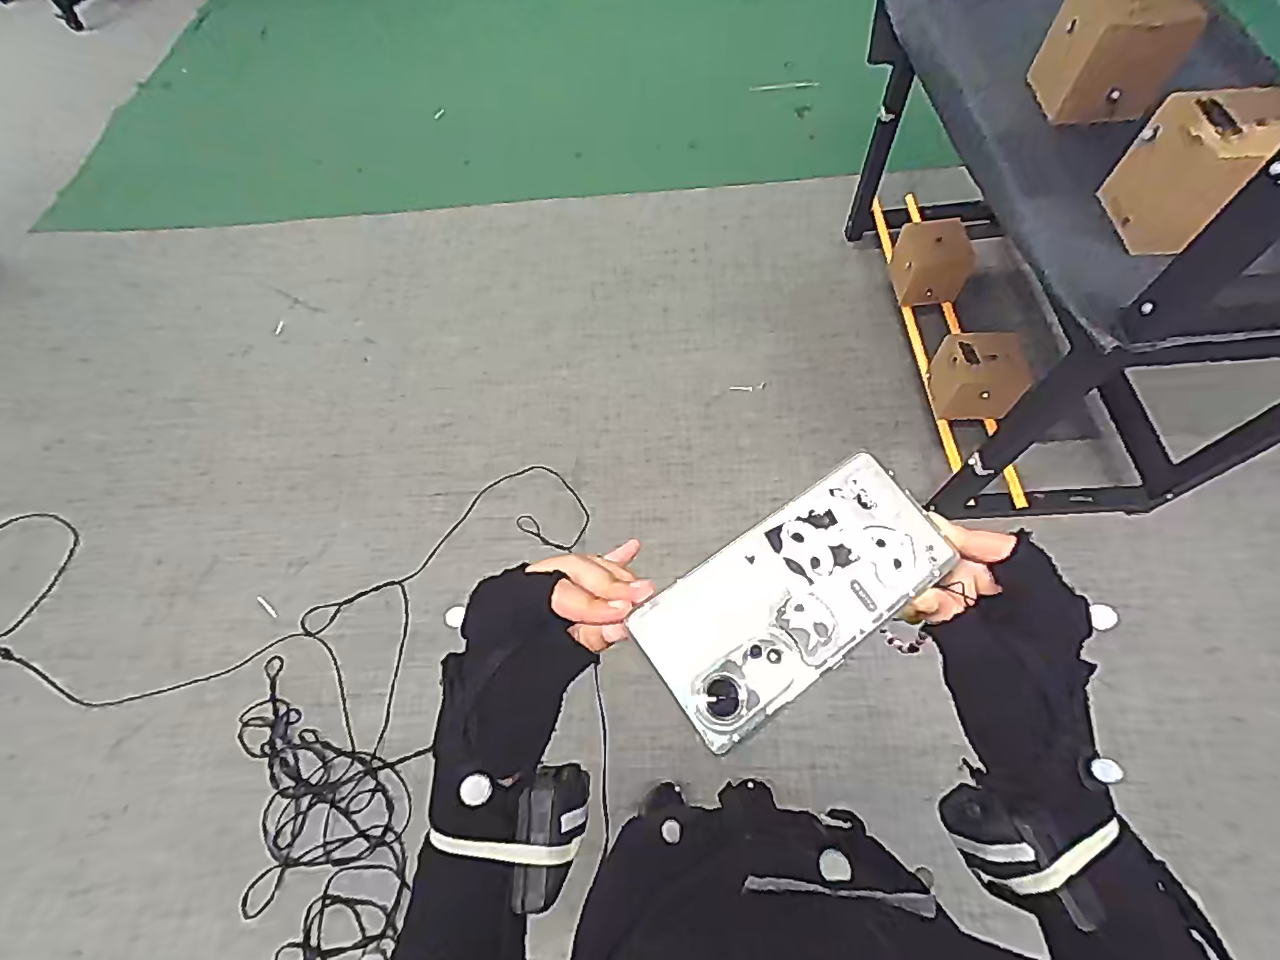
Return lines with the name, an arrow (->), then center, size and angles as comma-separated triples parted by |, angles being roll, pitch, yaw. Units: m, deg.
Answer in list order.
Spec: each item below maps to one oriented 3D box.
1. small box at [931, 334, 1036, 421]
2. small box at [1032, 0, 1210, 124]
small box -> 0.905, -0.270, 1.451 | 0.179, 0.176, 0.168 | 0, 63, 6
small box -> 0.893, -0.813, 1.029 | 0.168, 0.176, 0.179 | 0, 62, 6
